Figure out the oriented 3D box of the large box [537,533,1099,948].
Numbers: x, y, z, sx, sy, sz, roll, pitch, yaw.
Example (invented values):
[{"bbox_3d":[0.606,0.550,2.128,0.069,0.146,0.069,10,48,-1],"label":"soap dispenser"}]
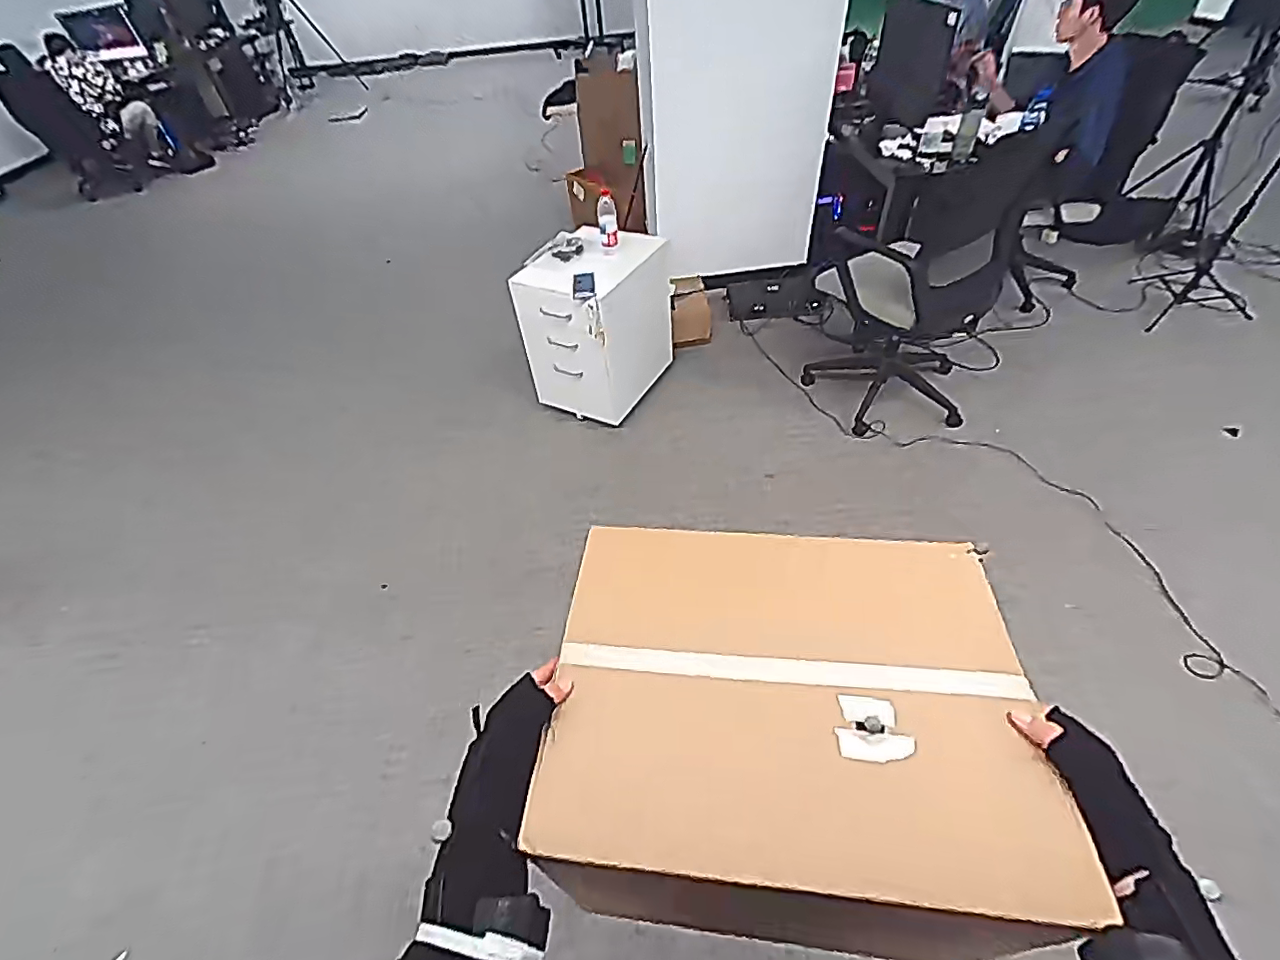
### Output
[{"bbox_3d":[0.139,0.278,0.594,0.408,0.320,0.320,2,46,7],"label":"large box"}]
